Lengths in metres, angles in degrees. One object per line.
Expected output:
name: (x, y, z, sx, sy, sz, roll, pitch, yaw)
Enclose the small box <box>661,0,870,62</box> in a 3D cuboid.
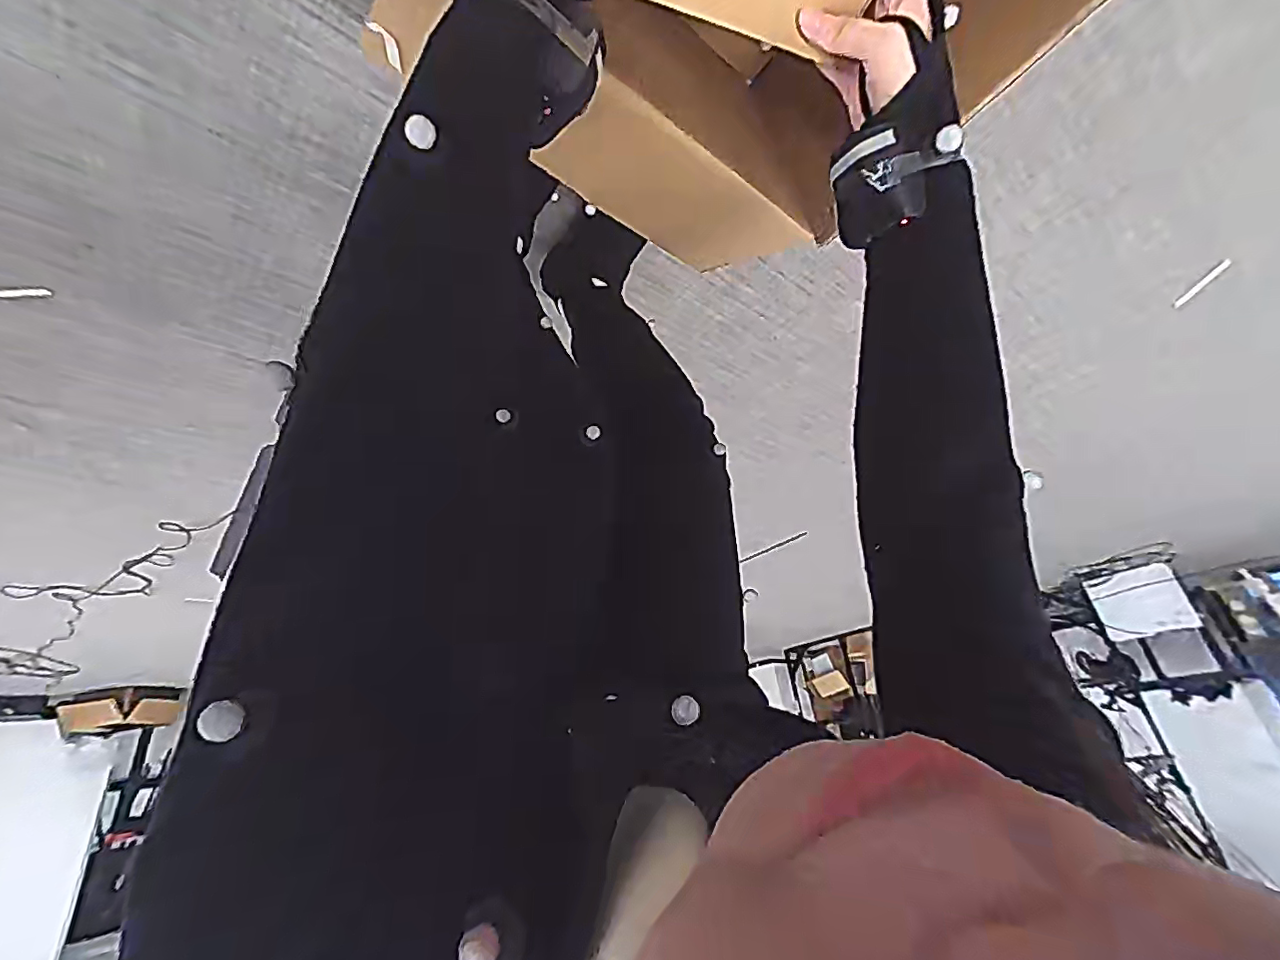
small box: (0.067, -0.394, 0.304, 0.179, 0.176, 0.168, 0, 155, -22)
